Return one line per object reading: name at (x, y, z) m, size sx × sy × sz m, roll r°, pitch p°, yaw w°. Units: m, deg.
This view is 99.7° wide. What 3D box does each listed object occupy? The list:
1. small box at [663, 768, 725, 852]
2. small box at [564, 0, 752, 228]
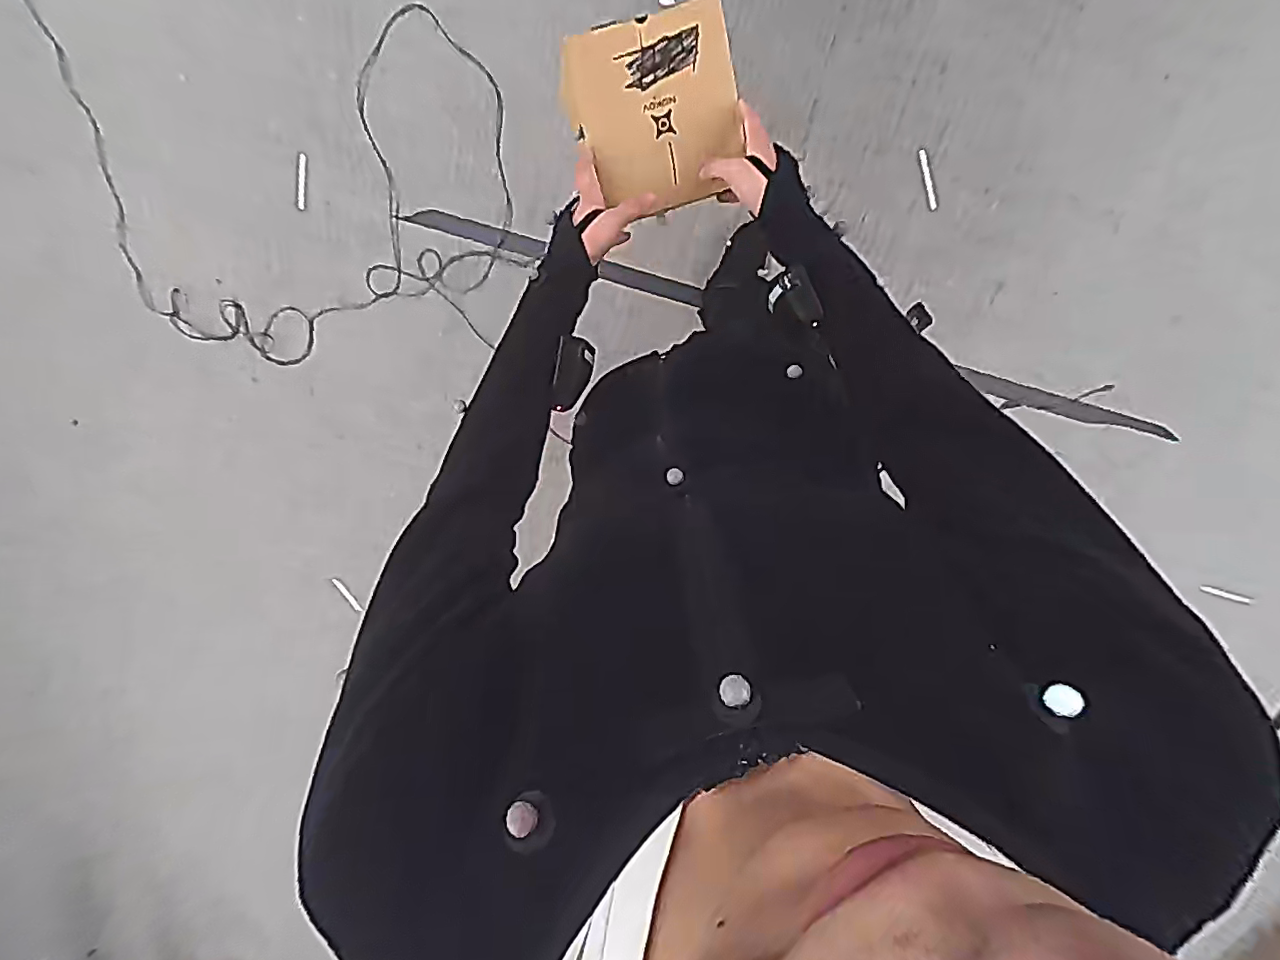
small box at (0.179, 1.107, 1.823) m, size 0.179 × 0.176 × 0.168 m, roll 11°, pitch 112°, yaw 1°
small box at (0.013, -0.413, 0.636) m, size 0.168 × 0.176 × 0.179 m, roll -18°, pitch 115°, yaw -1°
